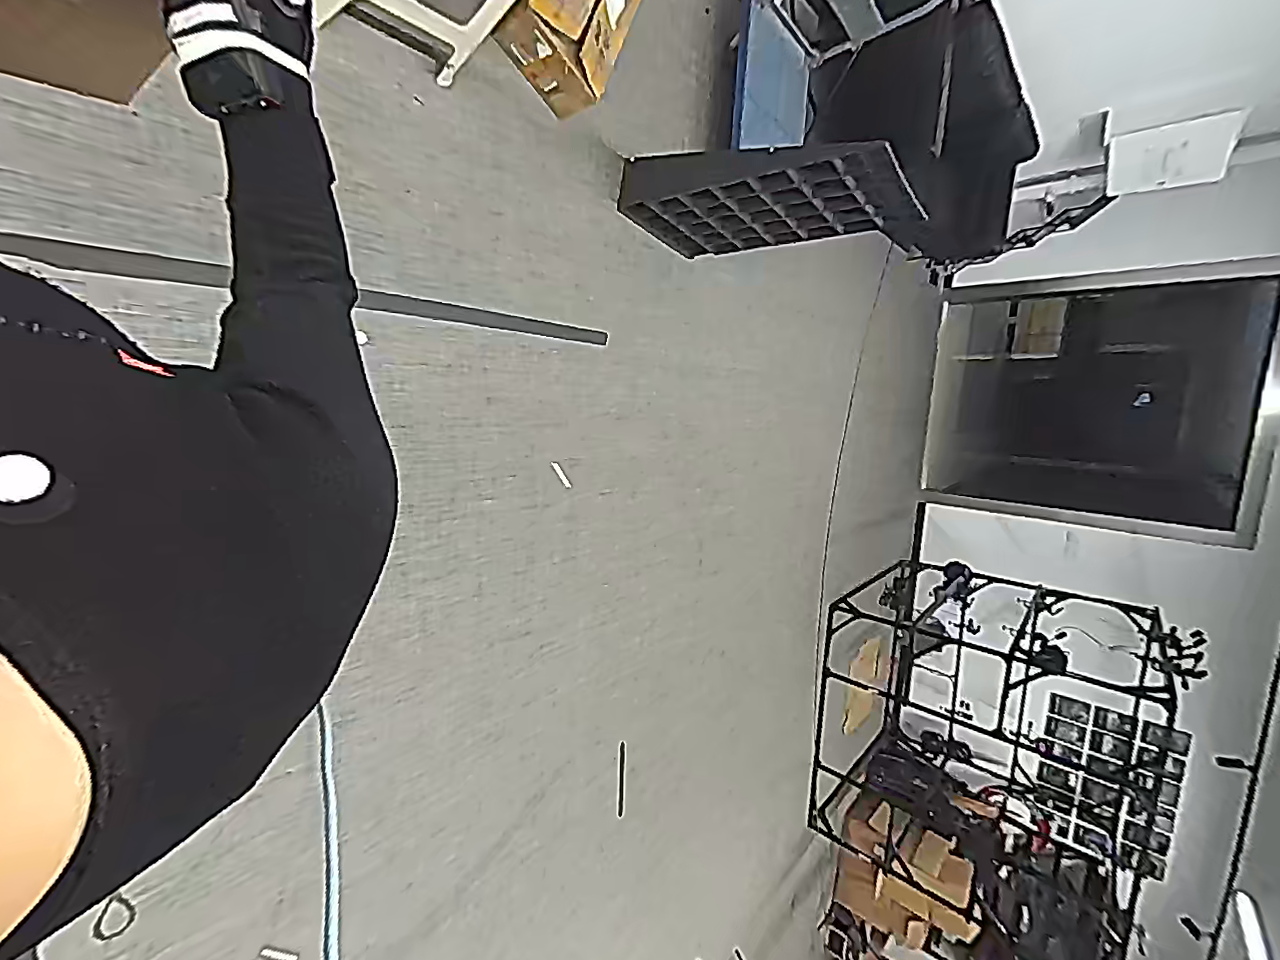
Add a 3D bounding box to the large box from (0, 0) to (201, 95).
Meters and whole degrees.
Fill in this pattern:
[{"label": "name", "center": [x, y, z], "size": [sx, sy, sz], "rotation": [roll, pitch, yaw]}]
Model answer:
[{"label": "large box", "center": [-0.539, -0.476, 0.282], "size": [0.408, 0.320, 0.320], "rotation": [-15, 113, -50]}]
